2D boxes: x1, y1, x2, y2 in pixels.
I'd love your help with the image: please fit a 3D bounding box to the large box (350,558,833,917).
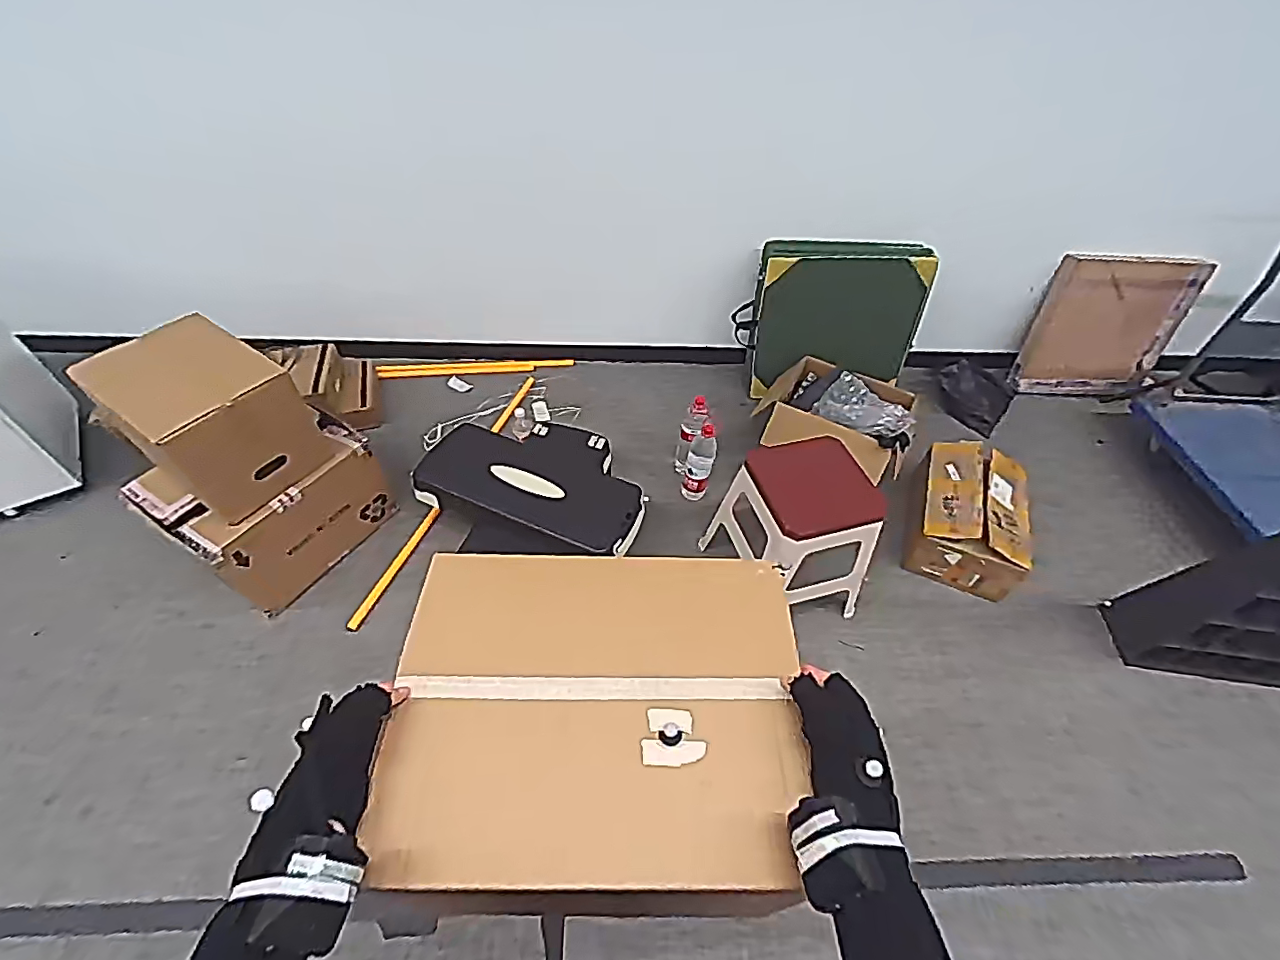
[{"bbox_3d":[-0.044,0.310,0.647,0.408,0.320,0.320,2,48,-1],"label":"large box"}]
